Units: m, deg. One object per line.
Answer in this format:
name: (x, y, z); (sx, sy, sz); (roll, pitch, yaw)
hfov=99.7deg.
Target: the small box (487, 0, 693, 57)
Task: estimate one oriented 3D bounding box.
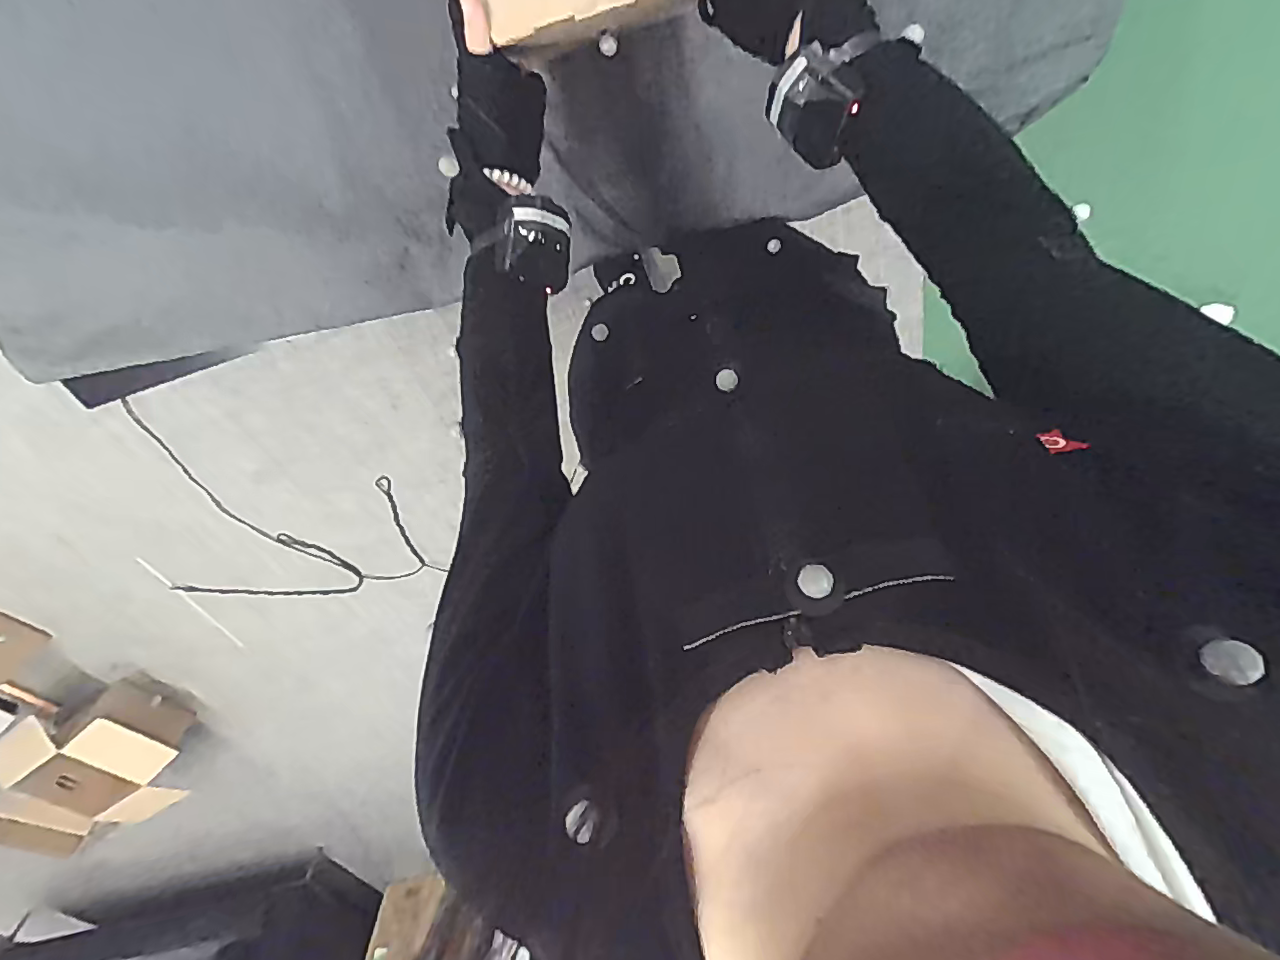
small box: (-0.046, -0.442, 0.392); (0.168, 0.176, 0.179); (-14, 125, 6)
